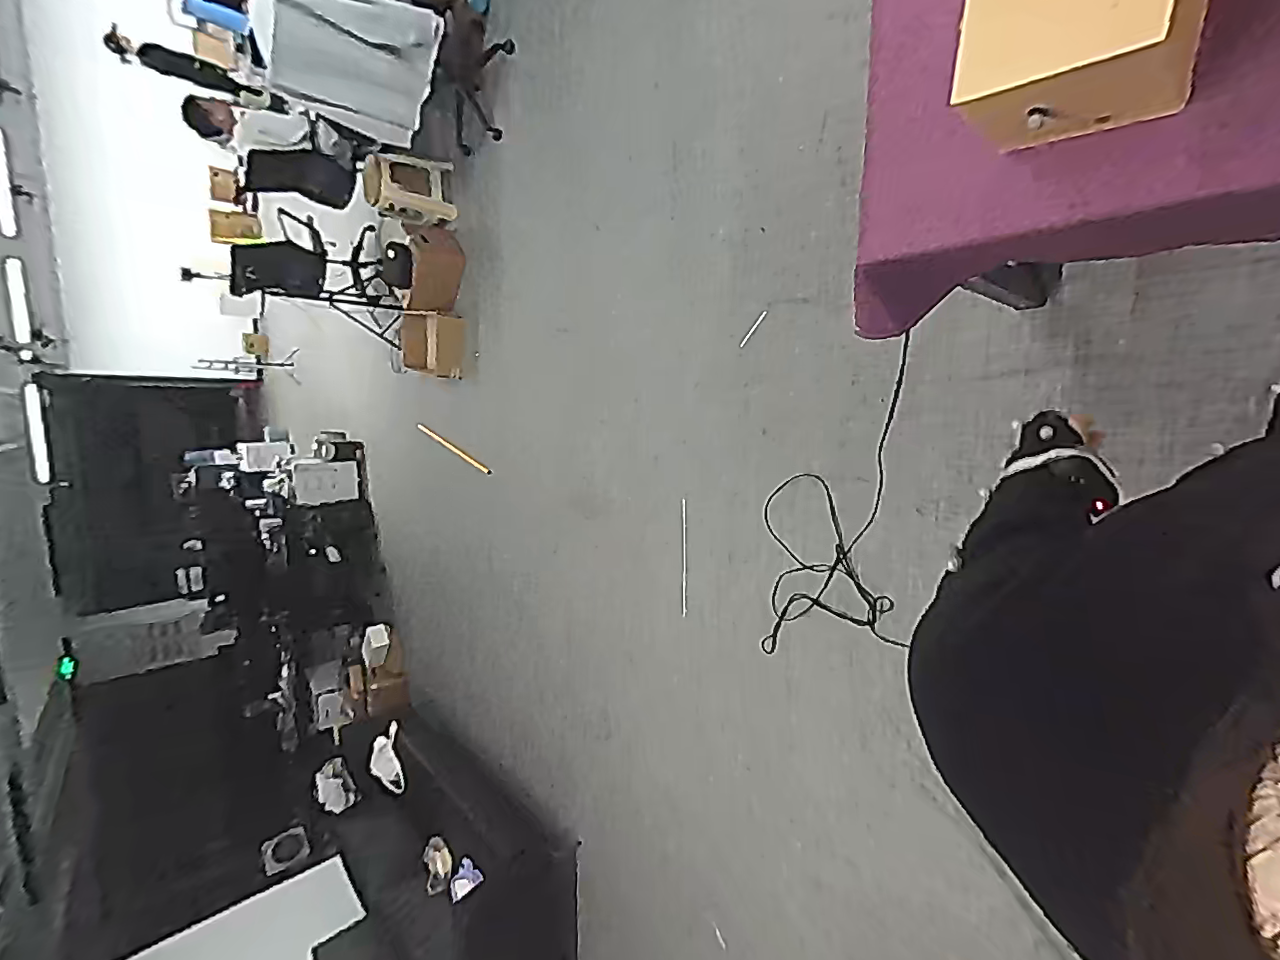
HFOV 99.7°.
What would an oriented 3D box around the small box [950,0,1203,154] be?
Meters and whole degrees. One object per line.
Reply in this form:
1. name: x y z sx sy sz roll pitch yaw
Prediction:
1. small box: 0.445 -0.459 0.548 0.168 0.176 0.179 15 104 47
